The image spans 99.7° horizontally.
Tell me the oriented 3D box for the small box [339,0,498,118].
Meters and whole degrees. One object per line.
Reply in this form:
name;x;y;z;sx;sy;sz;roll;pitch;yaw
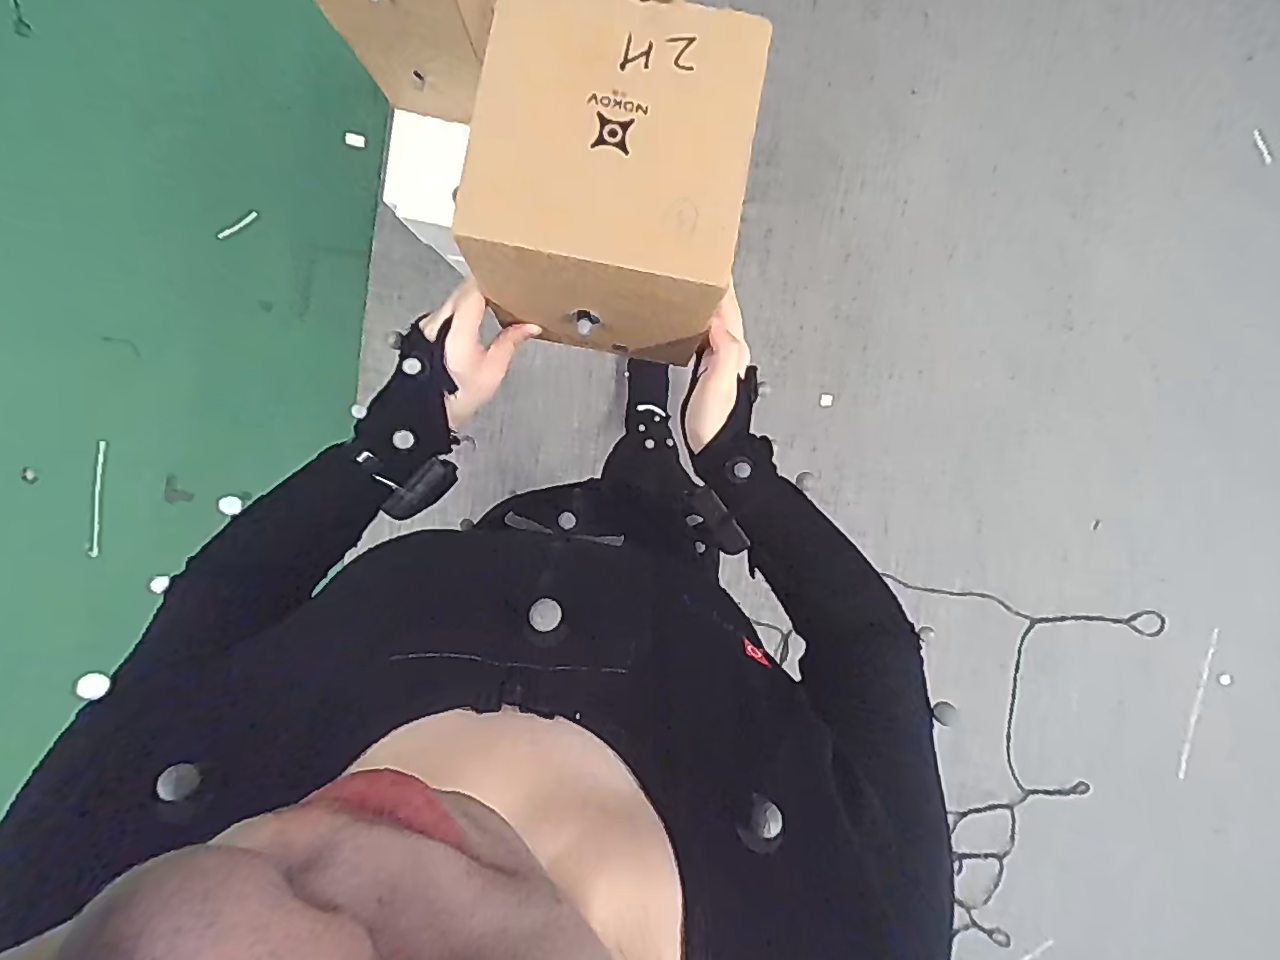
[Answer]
small box;-0.266;-0.619;0.724;0.179;0.176;0.168;10;97;-3

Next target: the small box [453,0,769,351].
small box;-0.020;-0.211;0.401;0.168;0.176;0.179;10;85;-4
